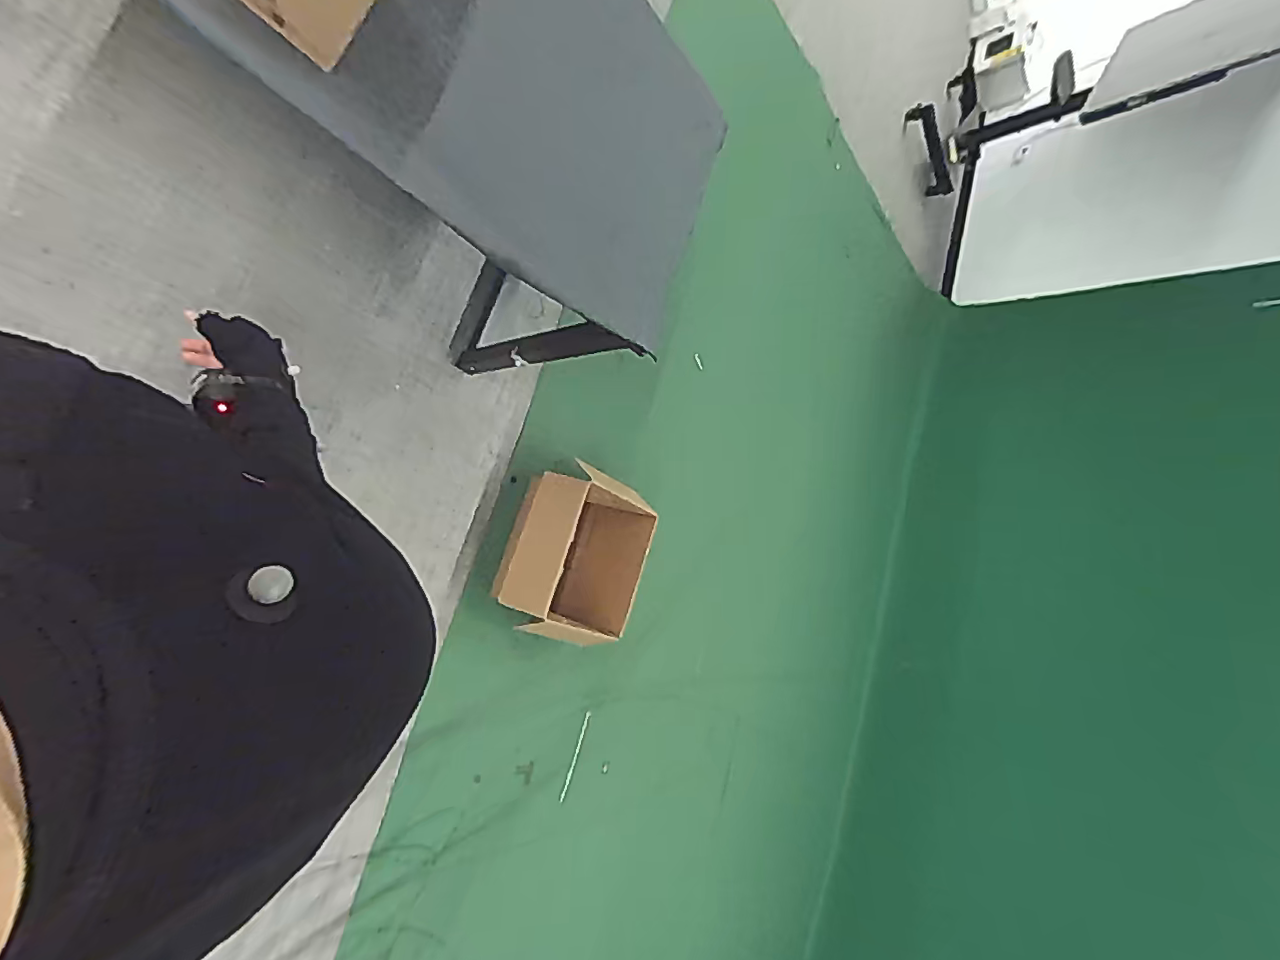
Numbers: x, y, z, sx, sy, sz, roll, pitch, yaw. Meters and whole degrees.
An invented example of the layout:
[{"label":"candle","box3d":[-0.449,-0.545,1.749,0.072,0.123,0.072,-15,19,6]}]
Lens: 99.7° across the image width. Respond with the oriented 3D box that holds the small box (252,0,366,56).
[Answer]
[{"label":"small box","box3d":[-0.353,-0.613,0.567,0.168,0.176,0.179,30,72,-42]}]
